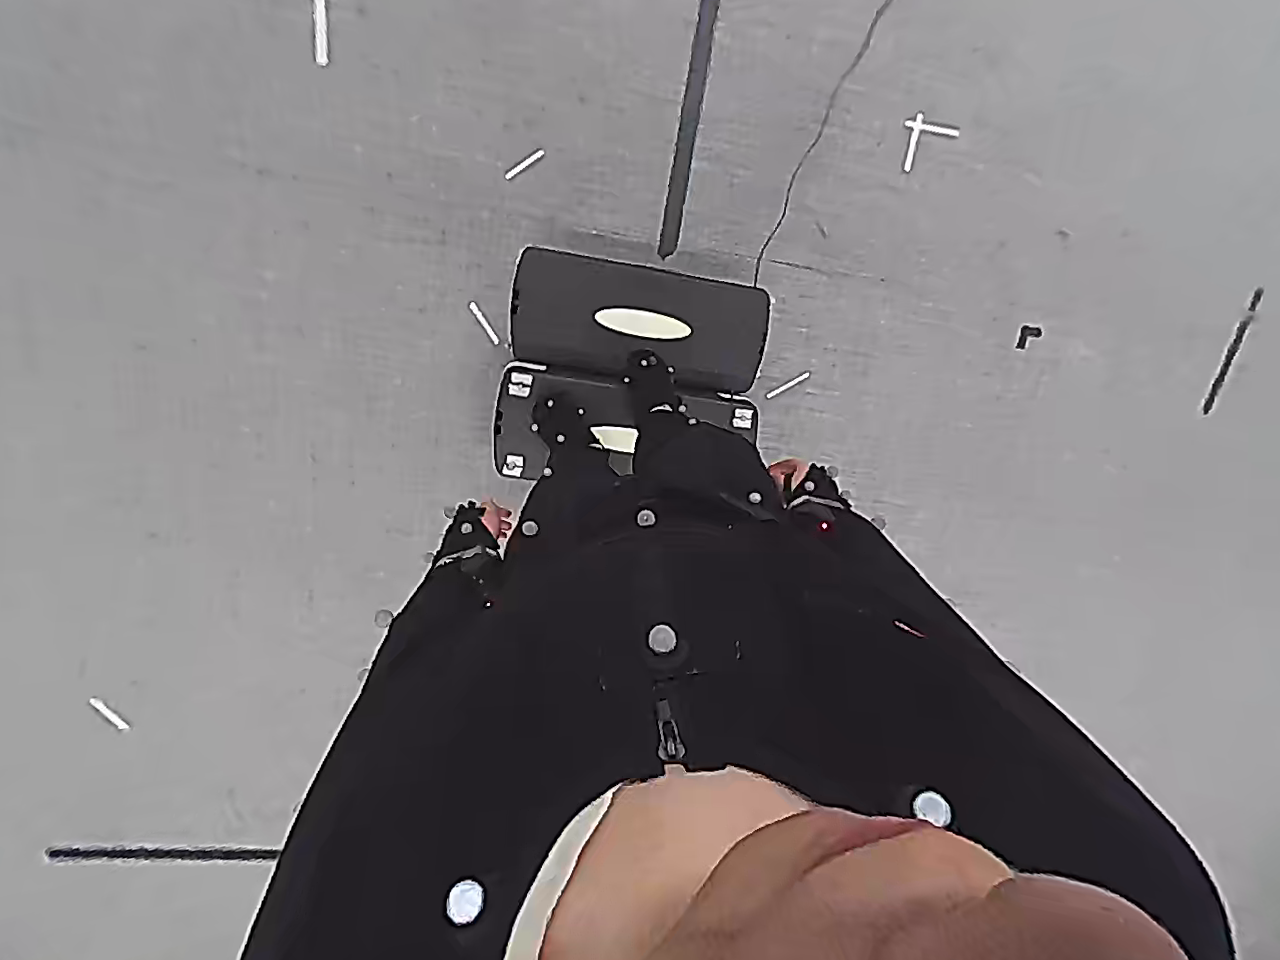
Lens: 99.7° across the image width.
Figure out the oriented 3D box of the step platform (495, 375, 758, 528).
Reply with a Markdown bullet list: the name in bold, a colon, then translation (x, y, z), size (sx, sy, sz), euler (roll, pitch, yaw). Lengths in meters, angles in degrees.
- **step platform**: translation (-0.035, -0.075, 1.452), size (0.684, 0.204, 0.286), euler (11, 102, -9)
